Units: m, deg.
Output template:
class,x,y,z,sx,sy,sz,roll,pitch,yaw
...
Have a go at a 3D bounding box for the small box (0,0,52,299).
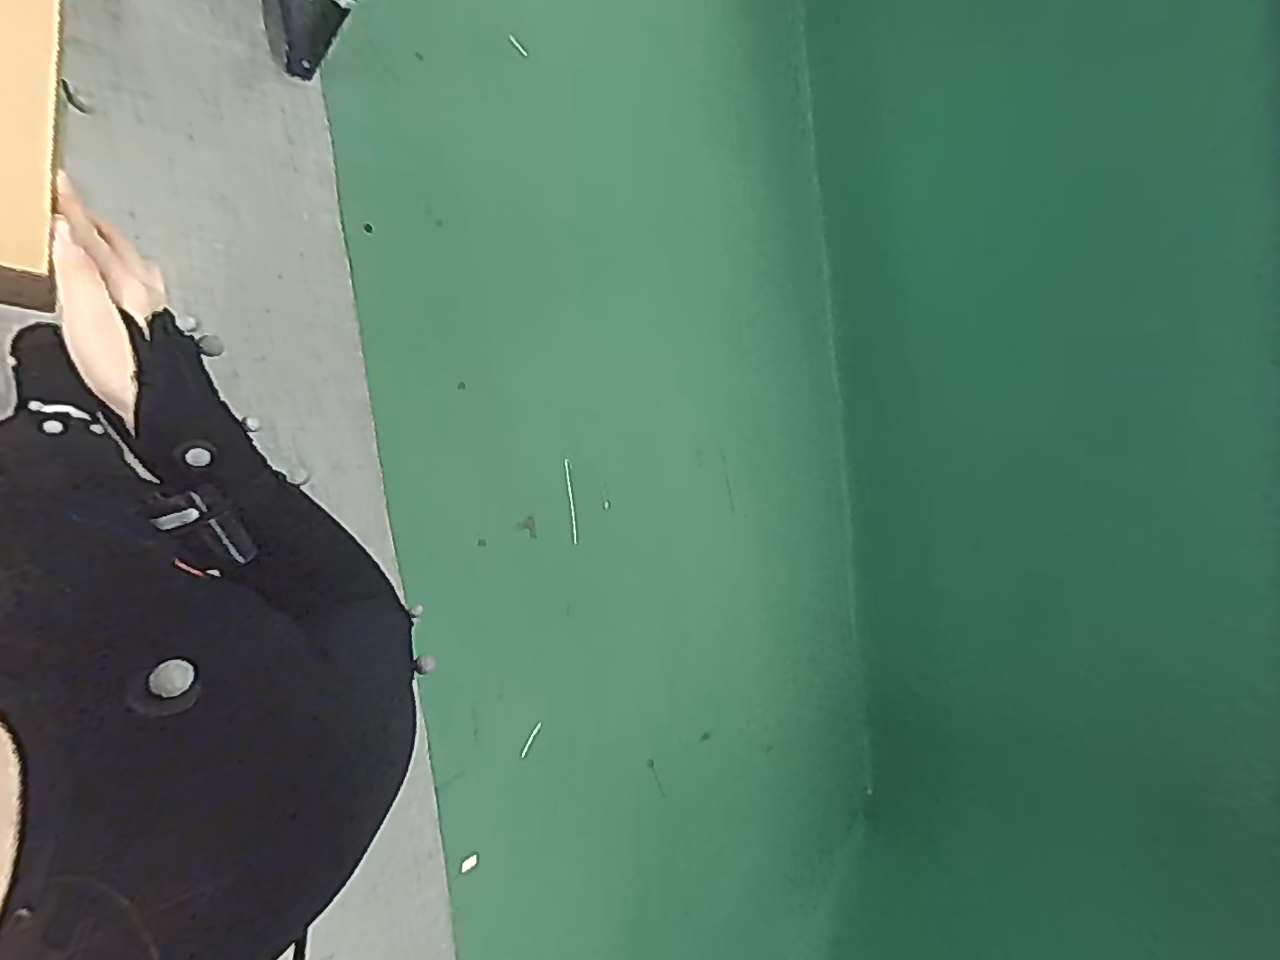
class,x,y,z,sx,sy,sz,roll,pitch,yaw
small box,-0.452,-0.216,0.299,0.168,0.176,0.179,2,95,-46
